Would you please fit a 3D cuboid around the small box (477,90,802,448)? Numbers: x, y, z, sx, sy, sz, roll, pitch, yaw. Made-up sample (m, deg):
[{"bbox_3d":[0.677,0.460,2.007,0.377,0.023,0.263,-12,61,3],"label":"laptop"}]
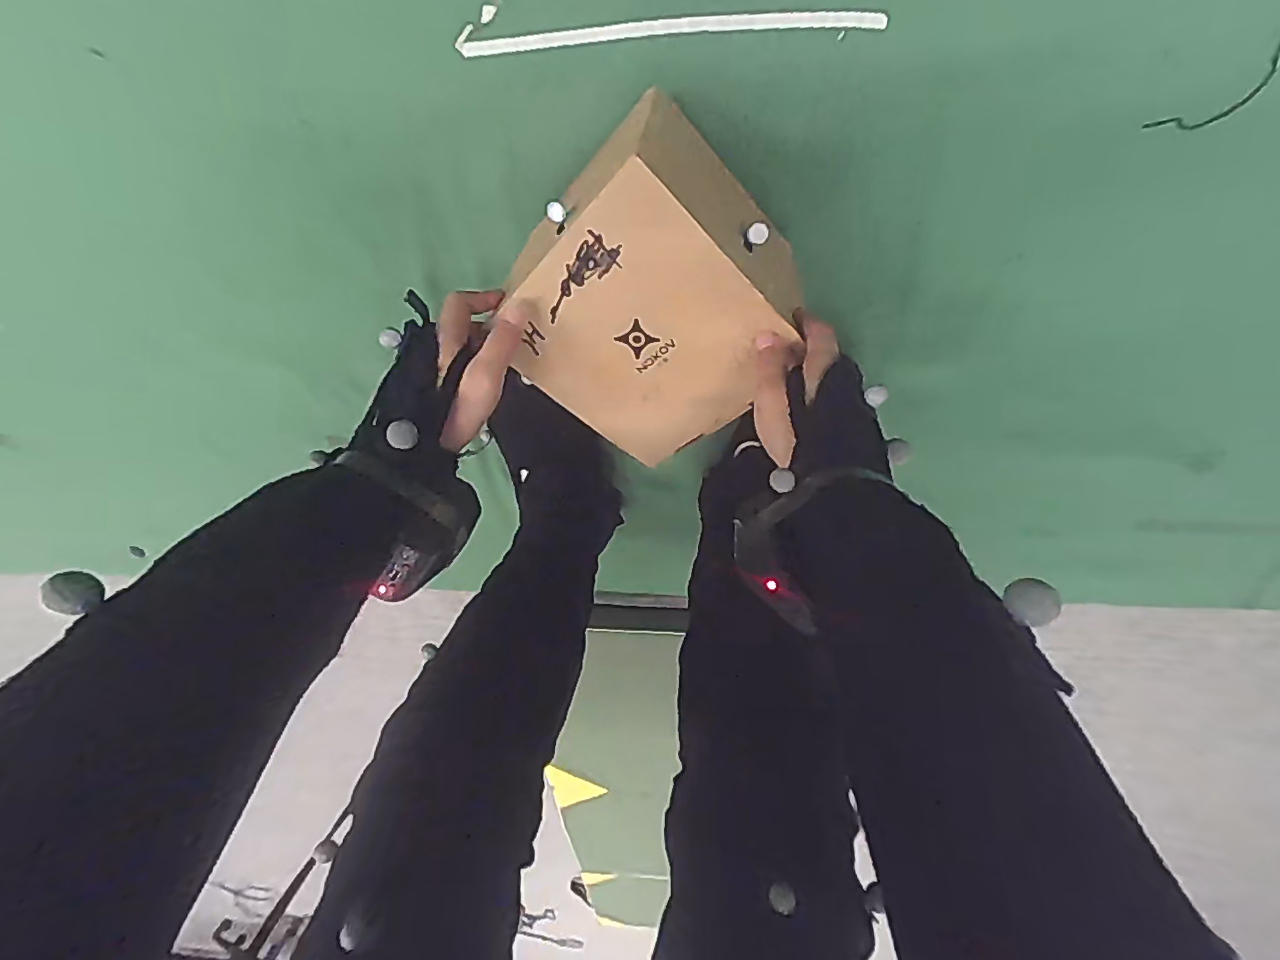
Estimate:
[{"bbox_3d":[0.006,-0.164,0.436,0.179,0.176,0.168,36,130,-29],"label":"small box"}]
